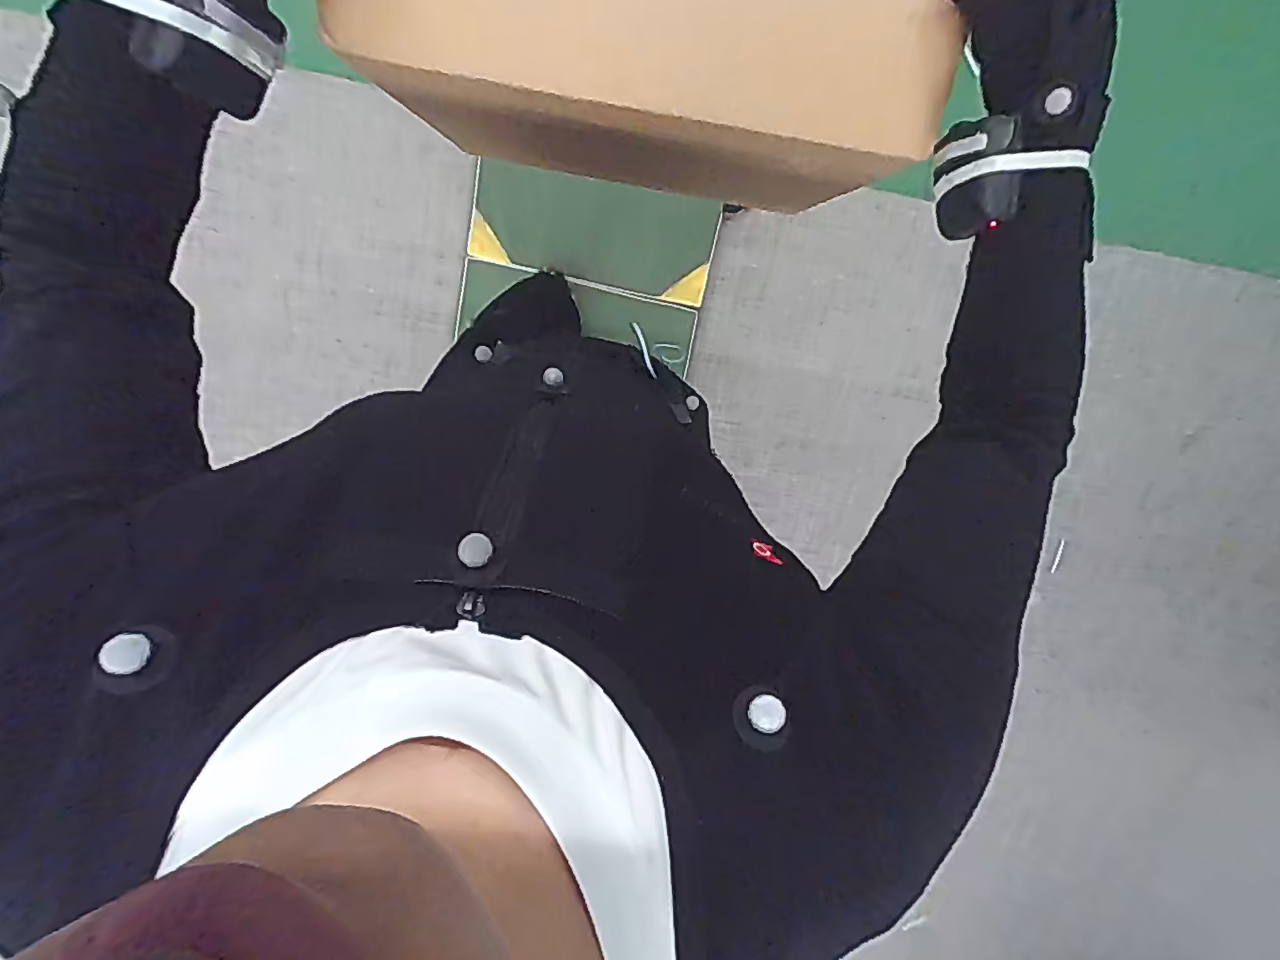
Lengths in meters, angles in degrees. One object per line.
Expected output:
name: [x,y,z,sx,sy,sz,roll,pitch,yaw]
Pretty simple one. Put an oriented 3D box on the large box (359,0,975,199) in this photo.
large box: [0.028,-0.453,0.454,0.408,0.320,0.320,7,111,-5]
